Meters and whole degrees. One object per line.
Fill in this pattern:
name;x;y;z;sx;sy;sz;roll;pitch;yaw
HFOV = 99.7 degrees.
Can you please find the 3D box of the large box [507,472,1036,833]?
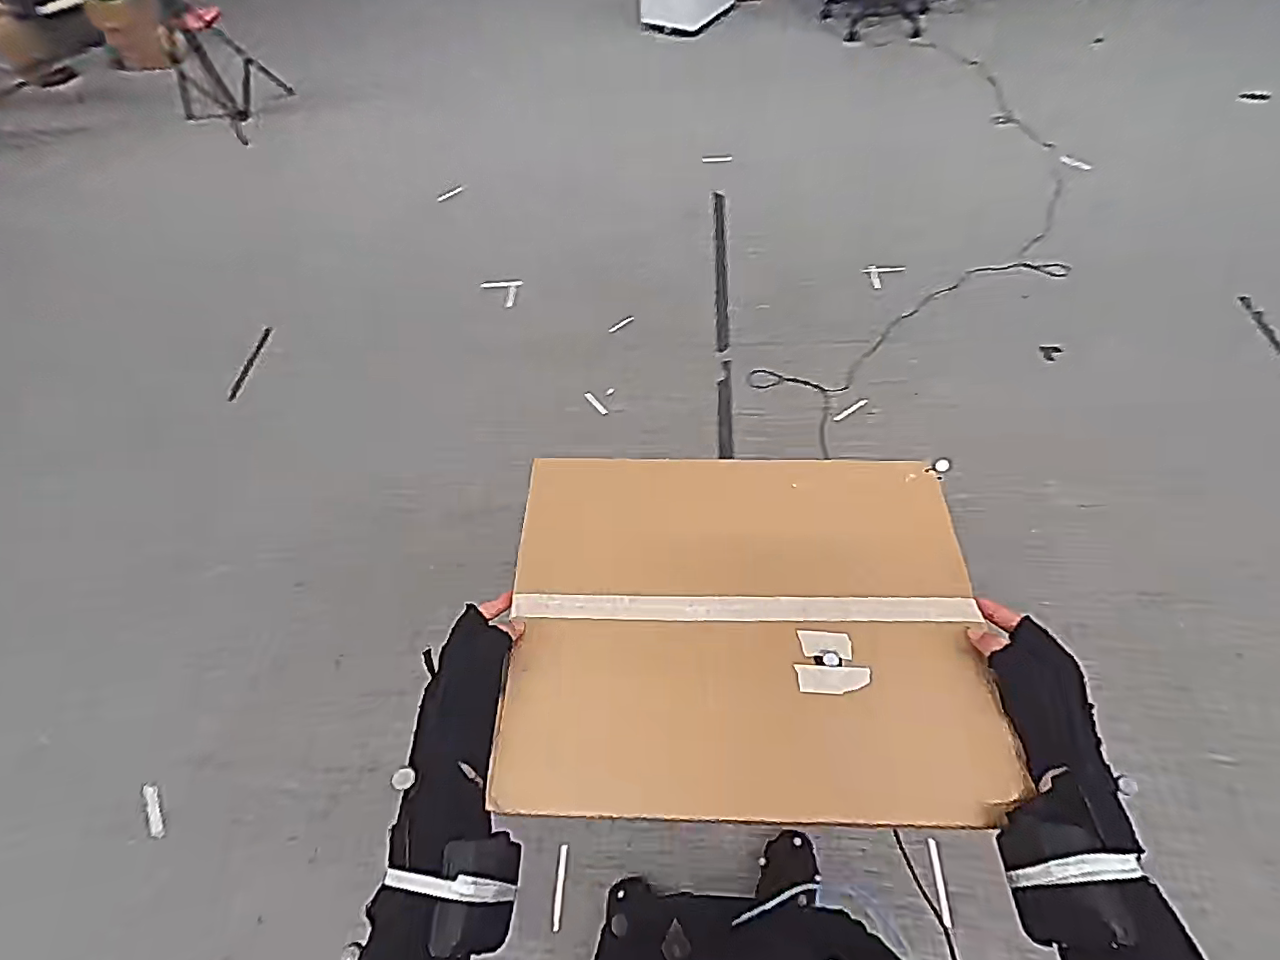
large box;0.100;0.201;0.605;0.408;0.320;0.320;1;60;2
